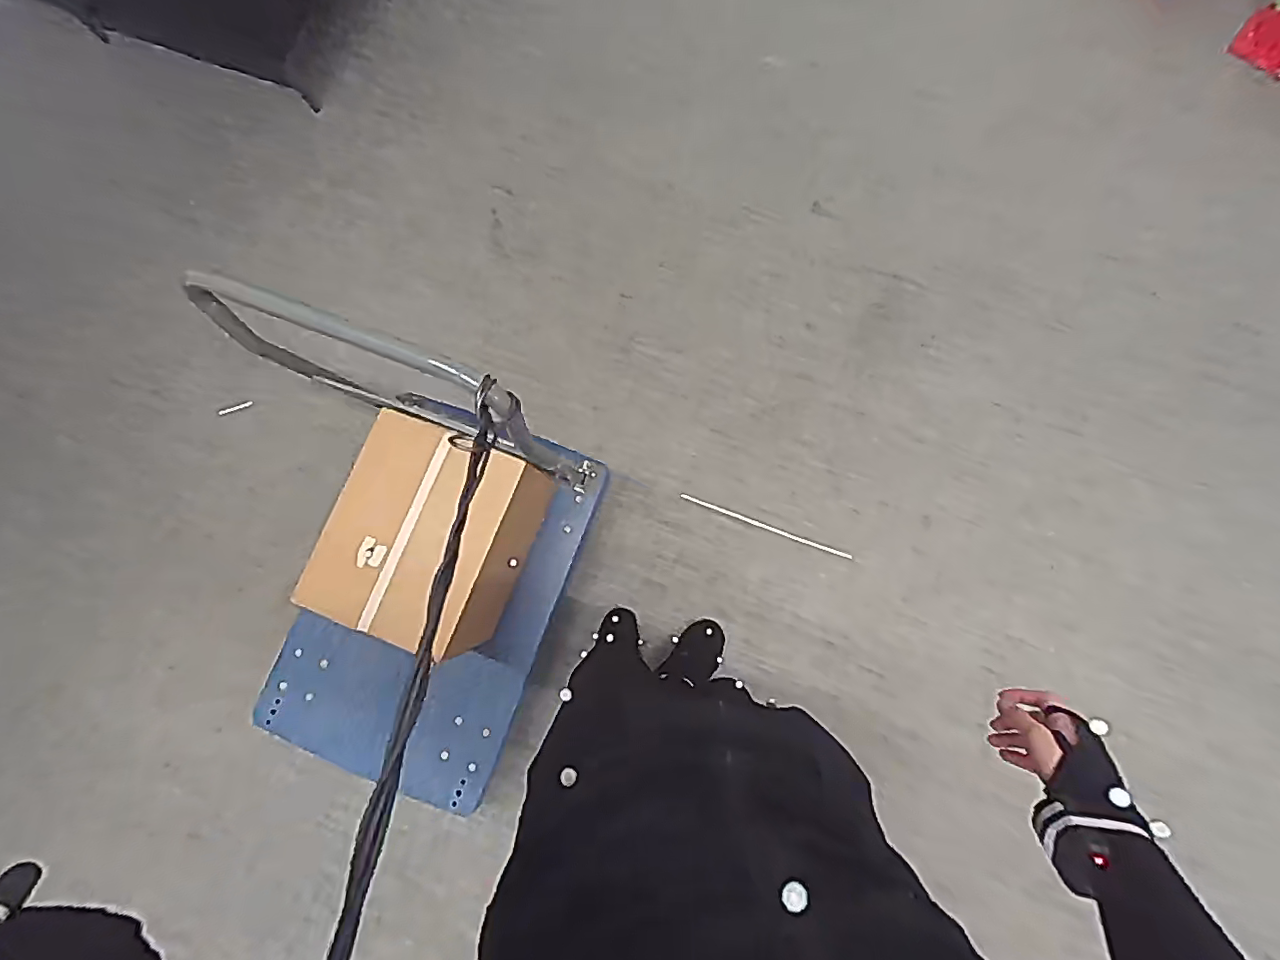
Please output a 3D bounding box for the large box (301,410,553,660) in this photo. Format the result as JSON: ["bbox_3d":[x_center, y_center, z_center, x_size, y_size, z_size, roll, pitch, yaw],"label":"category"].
[{"bbox_3d":[-0.420,0.114,1.168,0.320,0.320,0.408,21,83,5],"label":"large box"}]
